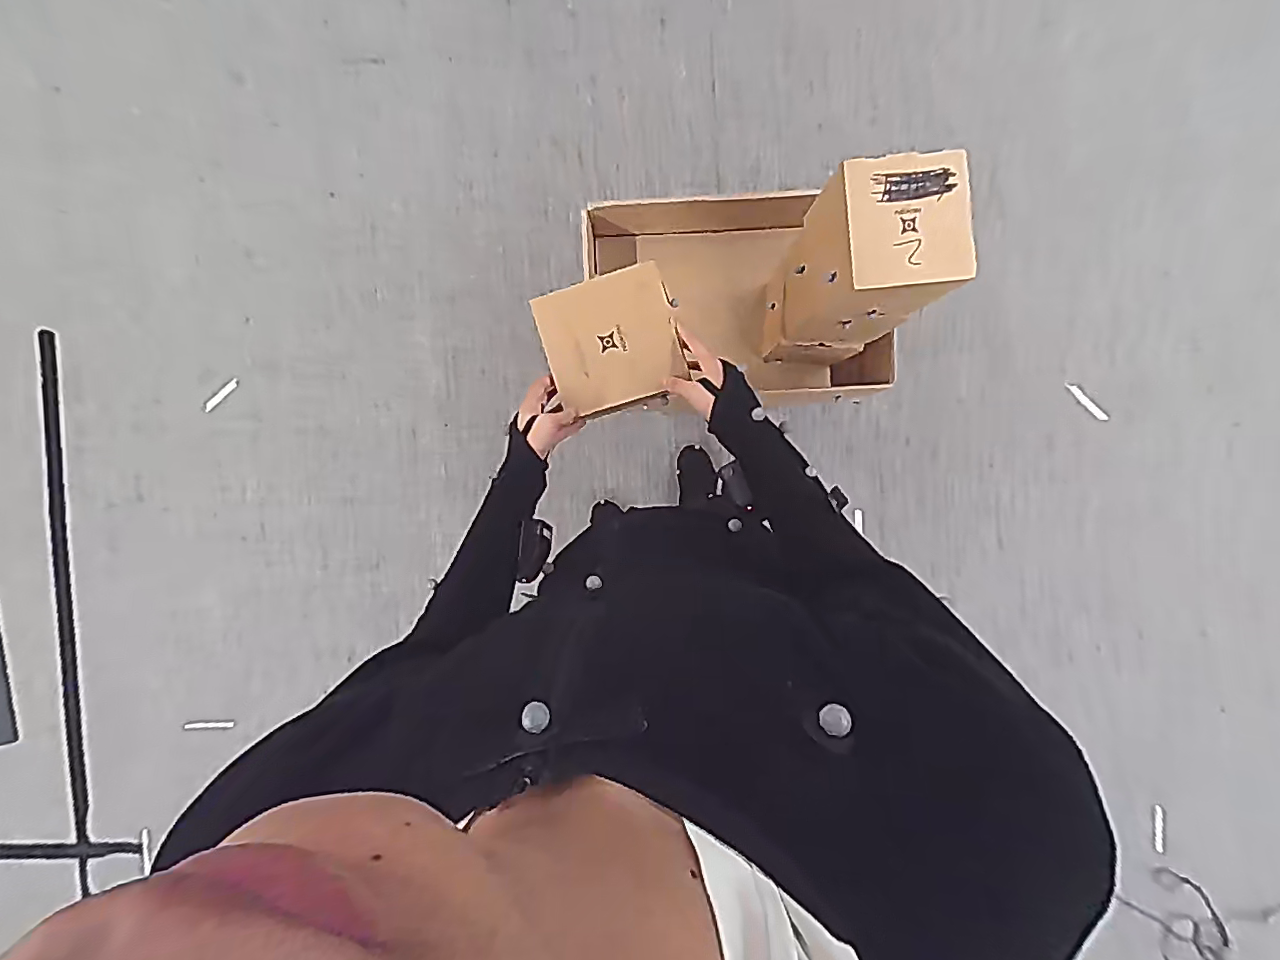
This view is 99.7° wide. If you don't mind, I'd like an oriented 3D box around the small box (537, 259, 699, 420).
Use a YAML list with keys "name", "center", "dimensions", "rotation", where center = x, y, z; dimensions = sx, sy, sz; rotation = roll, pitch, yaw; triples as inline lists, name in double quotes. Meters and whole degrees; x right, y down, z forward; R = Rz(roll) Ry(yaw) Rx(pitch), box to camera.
- name: "small box"
  center: [-0.025, -0.190, 0.776]
  dimensions: [0.179, 0.176, 0.168]
  rotation: [-17, 95, 6]

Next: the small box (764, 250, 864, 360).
- name: "small box"
  center: [0.360, -0.353, 1.124]
  dimensions: [0.168, 0.176, 0.179]
  rotation: [4, 91, -1]

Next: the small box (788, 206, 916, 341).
- name: "small box"
  center: [0.366, -0.358, 0.960]
  dimensions: [0.168, 0.176, 0.179]
  rotation: [1, 91, 0]
